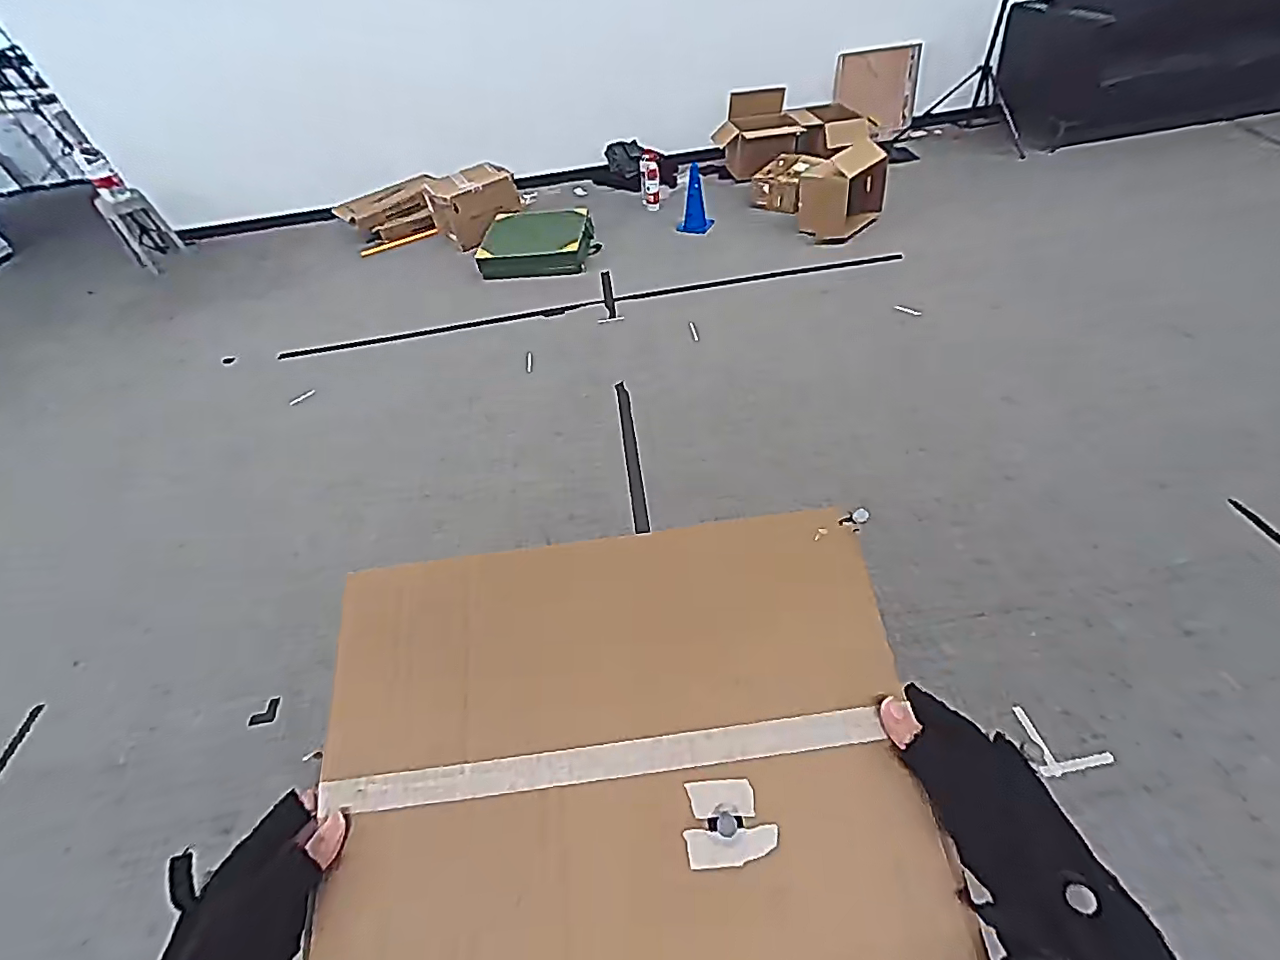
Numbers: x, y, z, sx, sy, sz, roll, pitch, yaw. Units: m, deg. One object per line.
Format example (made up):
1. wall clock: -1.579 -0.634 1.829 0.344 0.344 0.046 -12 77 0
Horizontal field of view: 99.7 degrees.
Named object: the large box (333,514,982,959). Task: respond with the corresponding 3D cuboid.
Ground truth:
1. large box: -0.003 0.257 0.515 0.408 0.320 0.320 -8 65 -1
